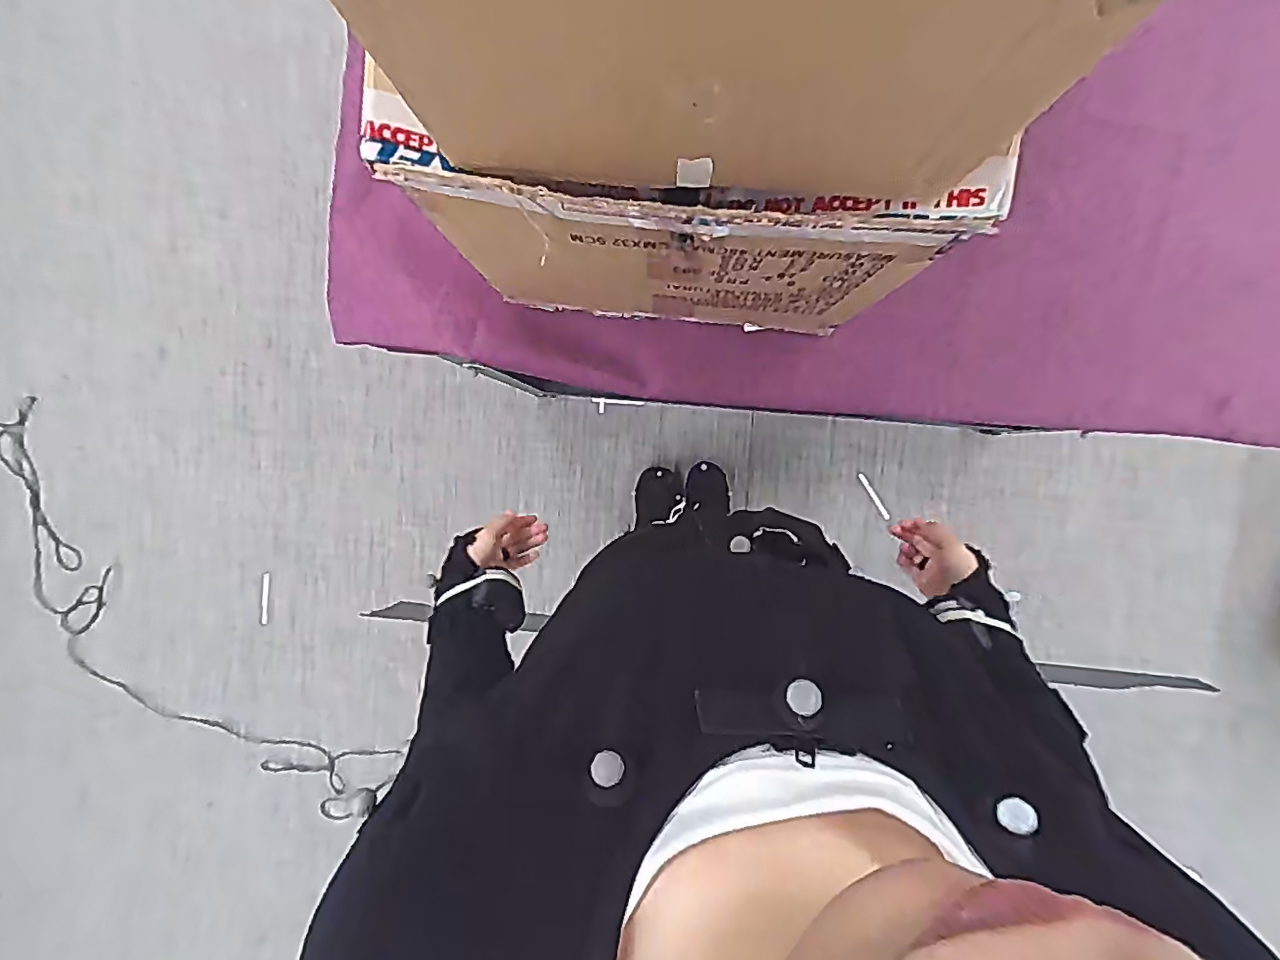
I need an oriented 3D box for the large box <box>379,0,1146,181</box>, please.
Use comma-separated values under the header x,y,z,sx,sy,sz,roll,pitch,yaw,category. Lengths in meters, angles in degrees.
x,y,z,sx,sy,sz,roll,pitch,yaw,category
0.050,-0.381,0.177,0.320,0.320,0.408,4,94,3,large box
